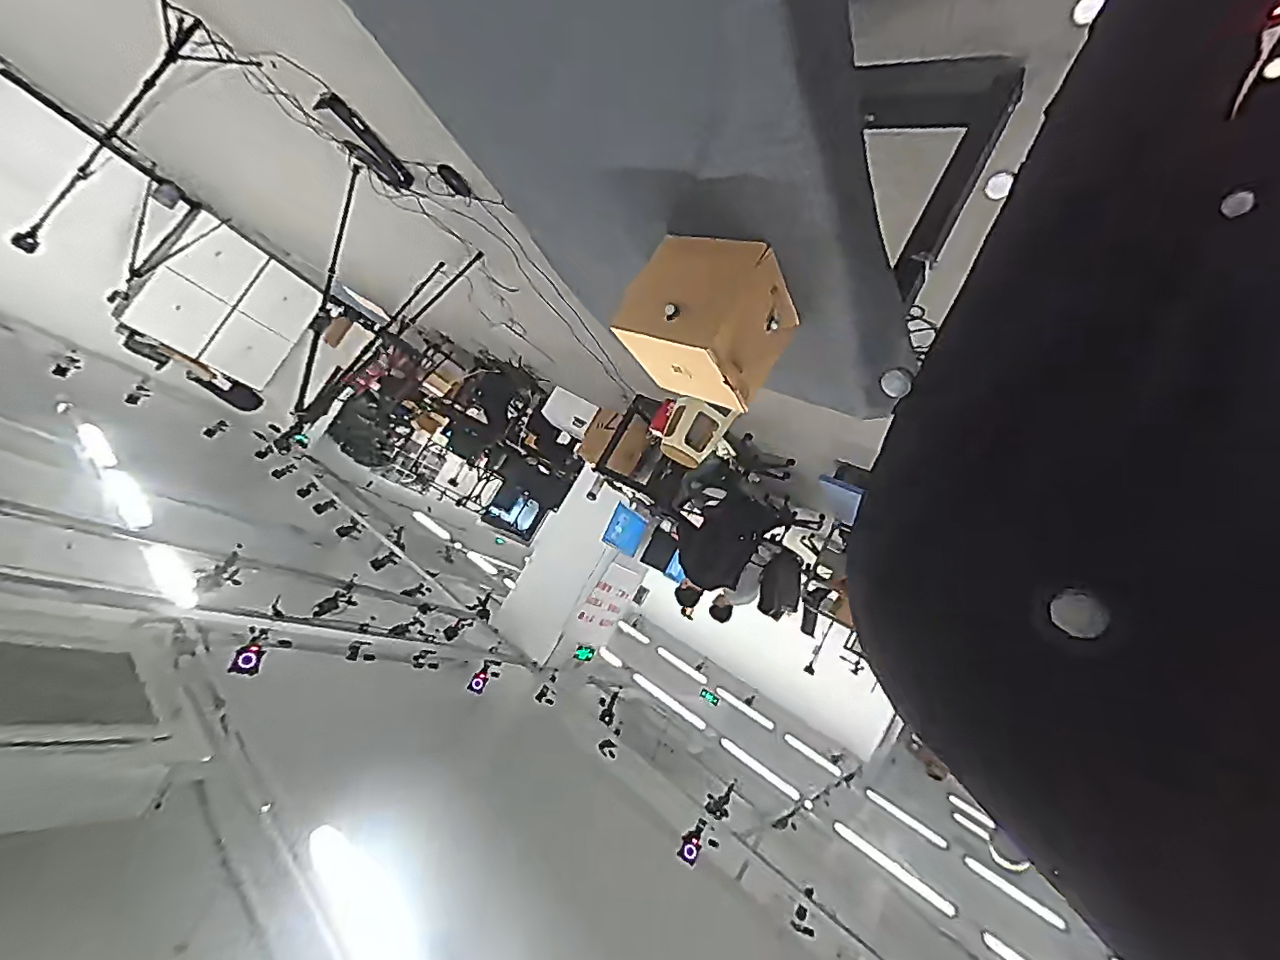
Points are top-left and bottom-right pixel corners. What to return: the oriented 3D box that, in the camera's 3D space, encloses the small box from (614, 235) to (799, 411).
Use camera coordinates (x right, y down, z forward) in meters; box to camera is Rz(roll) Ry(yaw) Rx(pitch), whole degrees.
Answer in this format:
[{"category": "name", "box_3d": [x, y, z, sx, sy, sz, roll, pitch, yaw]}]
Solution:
[{"category": "small box", "box_3d": [0.101, -0.231, 0.787, 0.179, 0.176, 0.168, 24, 170, 37]}]
